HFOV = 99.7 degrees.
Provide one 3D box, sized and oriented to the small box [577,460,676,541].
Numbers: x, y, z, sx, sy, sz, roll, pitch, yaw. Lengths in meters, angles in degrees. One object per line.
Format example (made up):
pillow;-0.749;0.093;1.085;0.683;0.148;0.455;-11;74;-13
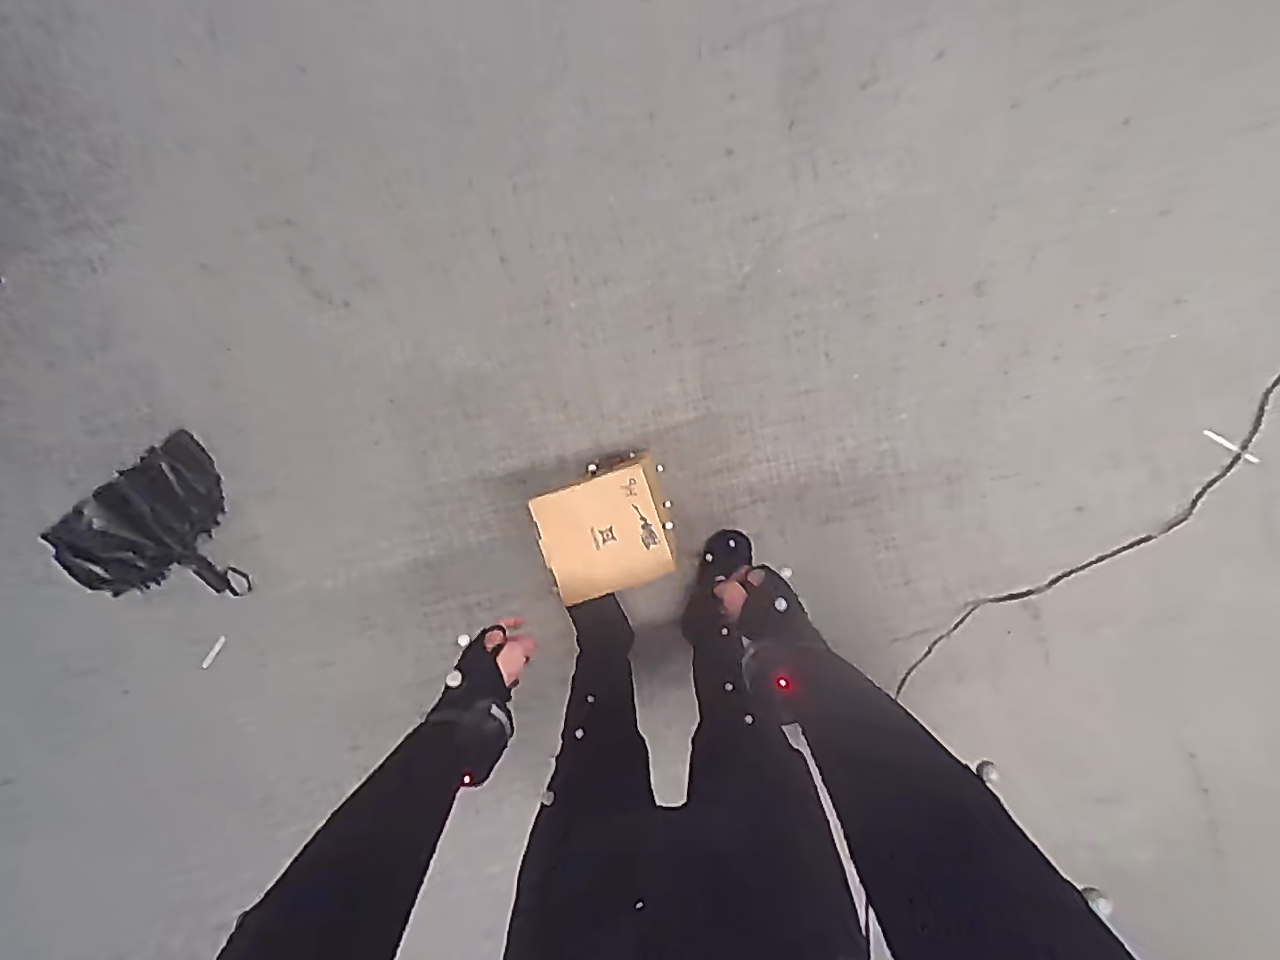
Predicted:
small box;-0.027;0.059;1.188;0.168;0.176;0.179;-18;95;5

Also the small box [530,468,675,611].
small box;-0.049;0.086;0.862;0.179;0.176;0.168;-19;93;5
